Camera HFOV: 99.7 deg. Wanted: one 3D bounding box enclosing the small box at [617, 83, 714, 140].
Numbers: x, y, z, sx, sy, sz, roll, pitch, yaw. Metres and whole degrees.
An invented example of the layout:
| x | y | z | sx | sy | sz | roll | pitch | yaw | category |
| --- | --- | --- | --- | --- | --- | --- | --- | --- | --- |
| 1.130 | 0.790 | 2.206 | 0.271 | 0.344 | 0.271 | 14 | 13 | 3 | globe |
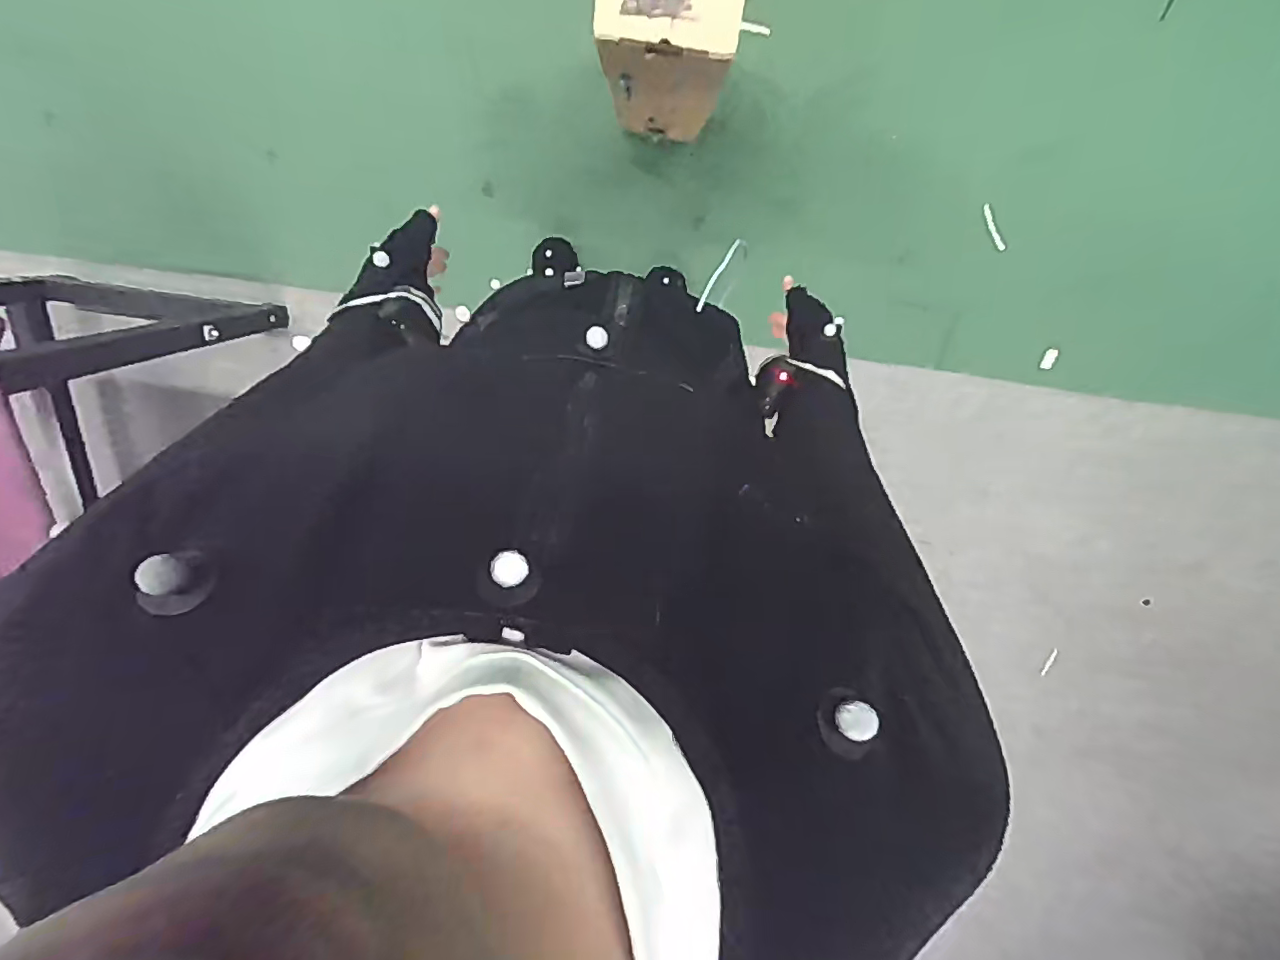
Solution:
| x | y | z | sx | sy | sz | roll | pitch | yaw | category |
| --- | --- | --- | --- | --- | --- | --- | --- | --- | --- |
| 0.051 | -0.730 | 0.961 | 0.168 | 0.176 | 0.179 | 7 | 114 | -2 | small box |

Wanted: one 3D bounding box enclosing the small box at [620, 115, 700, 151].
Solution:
| x | y | z | sx | sy | sz | roll | pitch | yaw | category |
| --- | --- | --- | --- | --- | --- | --- | --- | --- | --- |
| 0.055 | -0.801 | 1.108 | 0.168 | 0.176 | 0.179 | 10 | 113 | -2 | small box |

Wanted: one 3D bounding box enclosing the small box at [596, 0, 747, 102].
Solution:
| x | y | z | sx | sy | sz | roll | pitch | yaw | category |
| --- | --- | --- | --- | --- | --- | --- | --- | --- | --- |
| 0.044 | -0.592 | 0.661 | 0.168 | 0.176 | 0.179 | 7 | 112 | -3 | small box |
